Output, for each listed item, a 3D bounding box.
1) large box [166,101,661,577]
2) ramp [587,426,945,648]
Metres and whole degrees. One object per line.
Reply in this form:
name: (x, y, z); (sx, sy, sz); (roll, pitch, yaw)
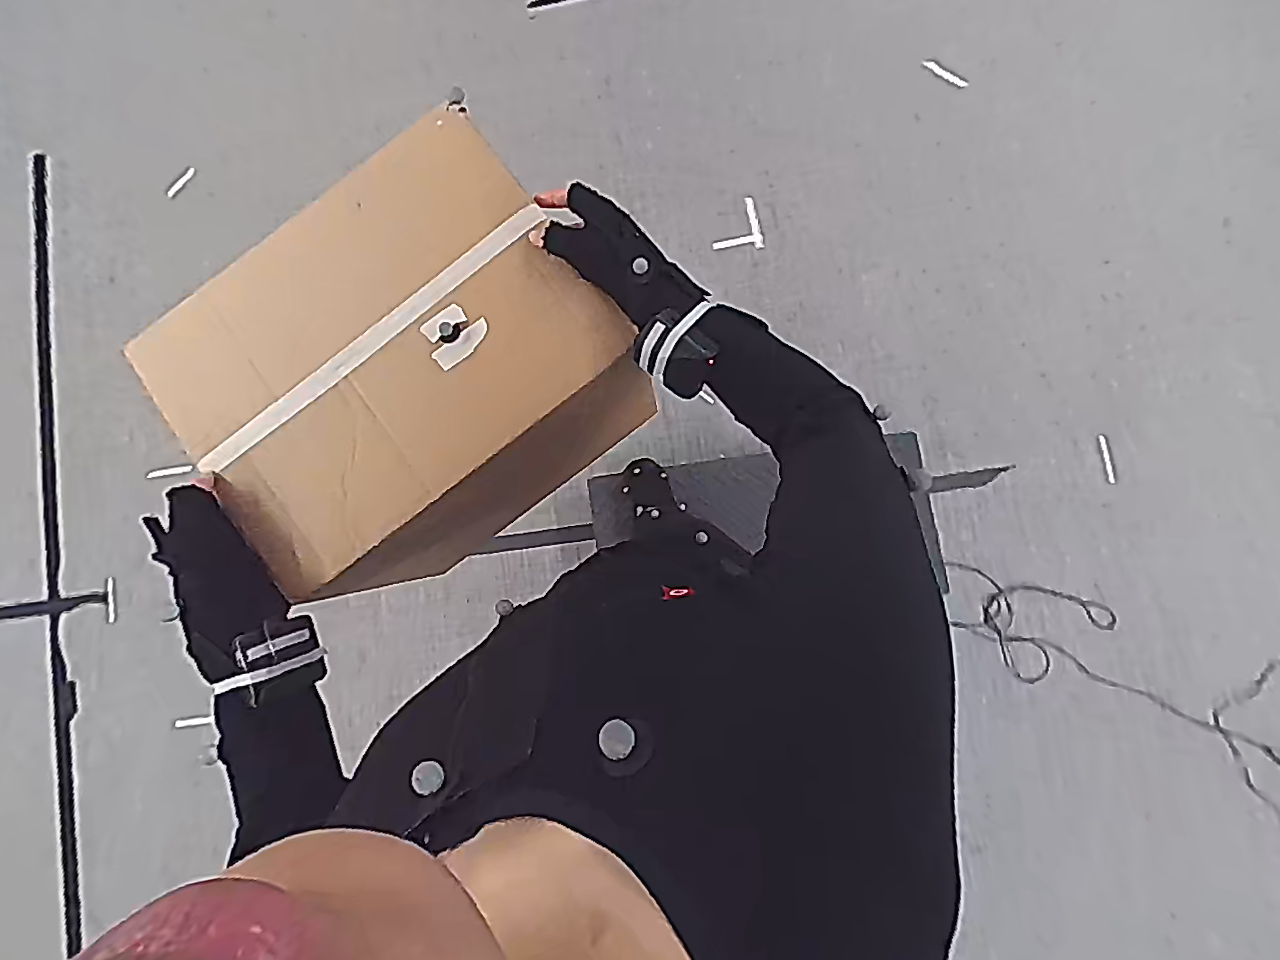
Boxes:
large box: (-0.224, -0.128, 0.672); (0.408, 0.320, 0.320); (-37, 84, 0)
ramp: (0.374, 0.143, 1.557); (0.991, 0.206, 0.509); (-11, 83, 2)
